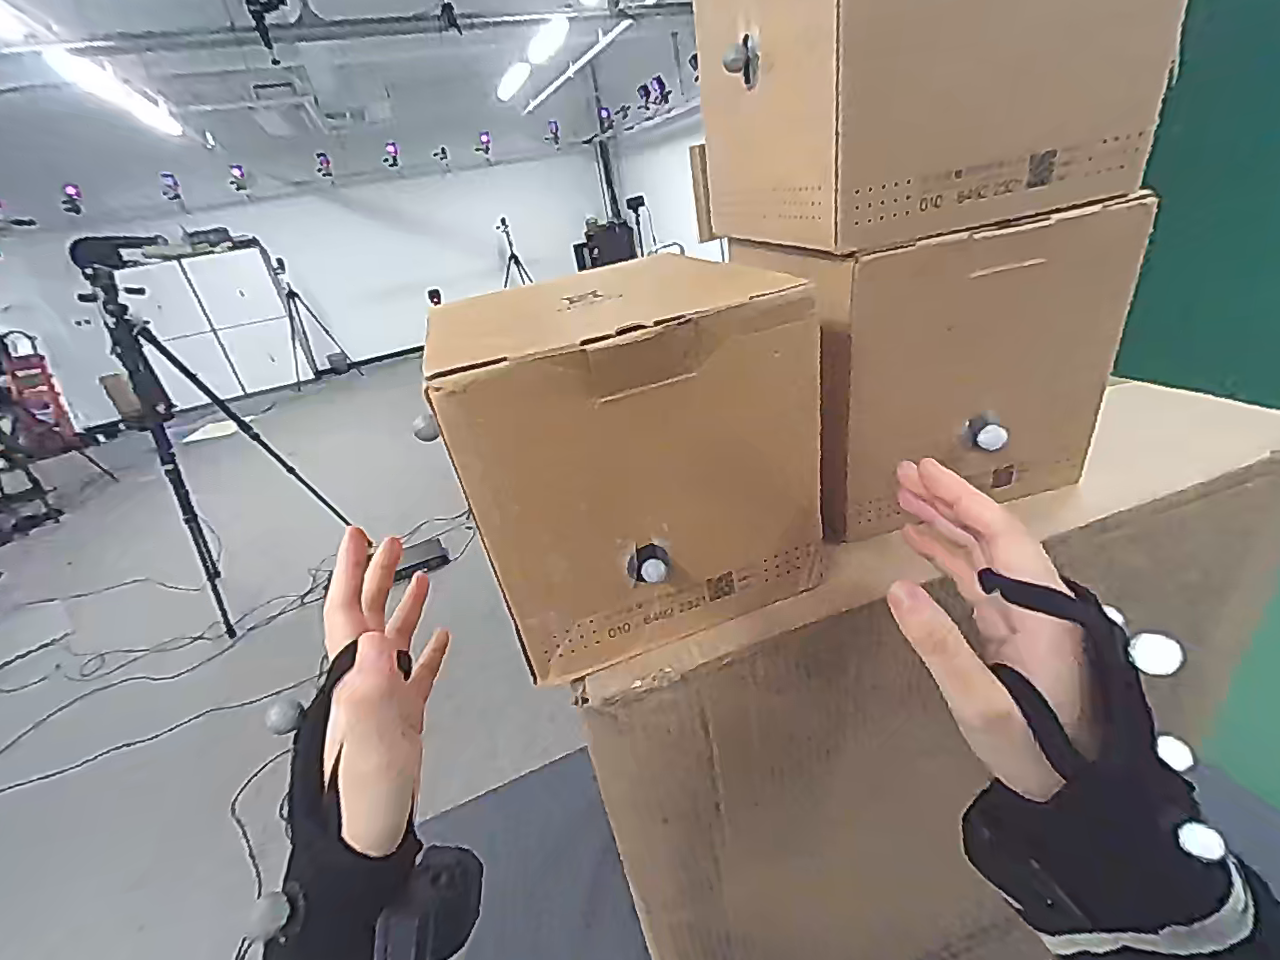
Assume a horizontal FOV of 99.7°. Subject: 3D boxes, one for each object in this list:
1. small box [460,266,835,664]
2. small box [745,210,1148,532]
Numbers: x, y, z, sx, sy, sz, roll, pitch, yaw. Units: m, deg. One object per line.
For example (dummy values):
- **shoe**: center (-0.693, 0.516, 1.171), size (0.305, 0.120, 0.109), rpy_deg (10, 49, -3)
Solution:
- **small box**: center (-0.004, -0.025, 0.334), size (0.168, 0.176, 0.179), rpy_deg (-16, 30, -13)
- **small box**: center (0.184, -0.087, 0.387), size (0.168, 0.176, 0.179), rpy_deg (-13, 29, -7)
